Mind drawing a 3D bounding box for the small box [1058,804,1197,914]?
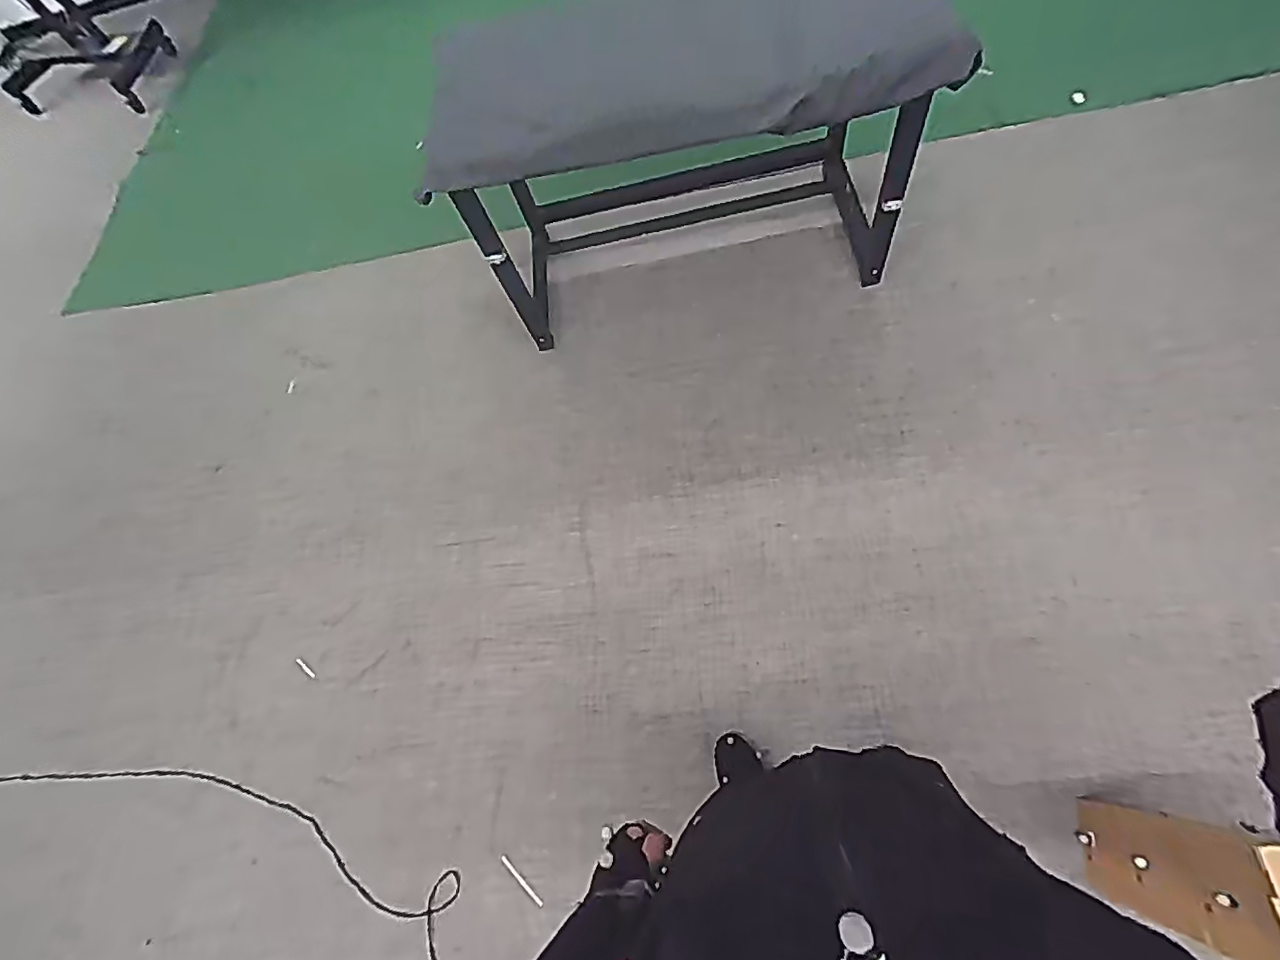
[{"bbox_3d":[0.987,0.762,1.080,0.179,0.176,0.168,3,66,13],"label":"small box"}]

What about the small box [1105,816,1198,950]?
[{"bbox_3d":[0.960,0.697,0.931,0.179,0.176,0.168,5,66,13],"label":"small box"}]

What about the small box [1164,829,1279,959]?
[{"bbox_3d":[0.930,0.622,0.790,0.179,0.176,0.168,-3,65,9],"label":"small box"}]
